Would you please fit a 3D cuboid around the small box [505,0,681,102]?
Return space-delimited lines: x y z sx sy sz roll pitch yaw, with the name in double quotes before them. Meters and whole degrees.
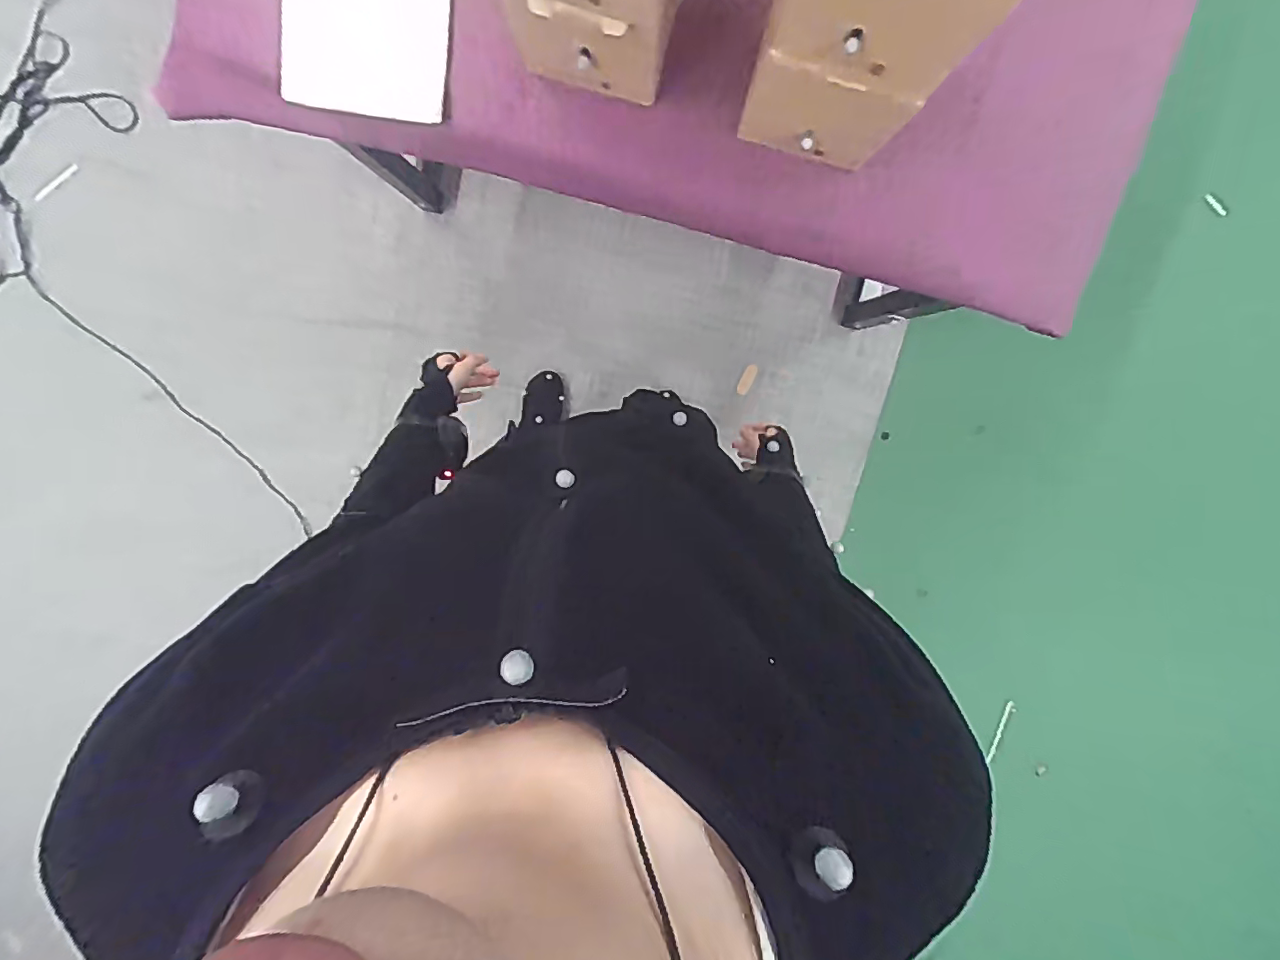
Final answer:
"small box" -0.037 -0.562 0.595 0.168 0.176 0.179 15 100 -3

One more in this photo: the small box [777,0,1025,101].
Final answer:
"small box" 0.229 -0.468 0.447 0.168 0.176 0.179 15 99 -3

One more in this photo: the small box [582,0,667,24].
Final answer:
"small box" -0.037 -0.527 0.433 0.168 0.176 0.179 15 99 -3
